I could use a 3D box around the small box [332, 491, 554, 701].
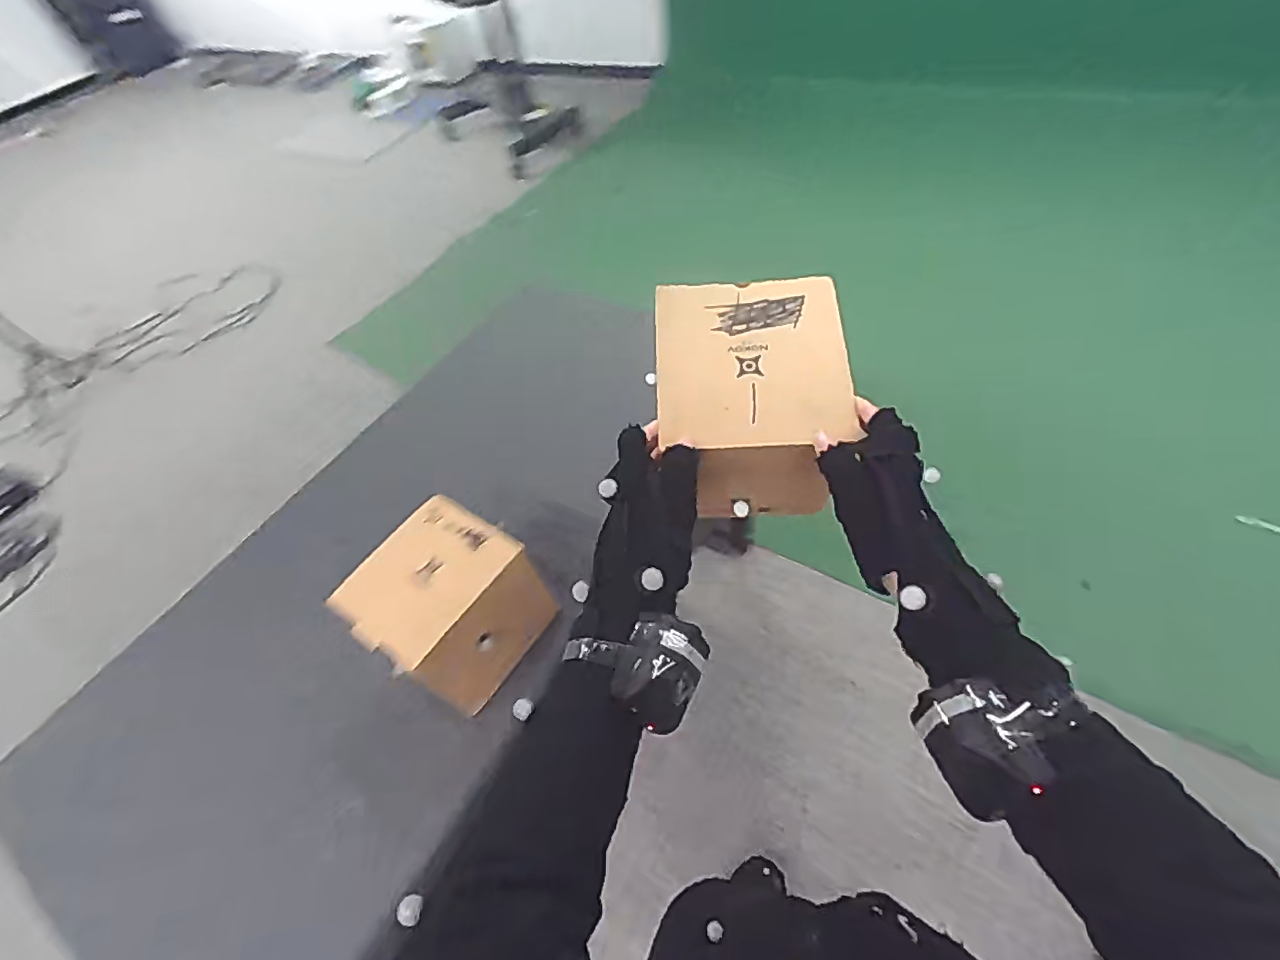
[{"bbox_3d":[-0.237,0.152,0.696,0.168,0.176,0.179,26,63,28],"label":"small box"}]
